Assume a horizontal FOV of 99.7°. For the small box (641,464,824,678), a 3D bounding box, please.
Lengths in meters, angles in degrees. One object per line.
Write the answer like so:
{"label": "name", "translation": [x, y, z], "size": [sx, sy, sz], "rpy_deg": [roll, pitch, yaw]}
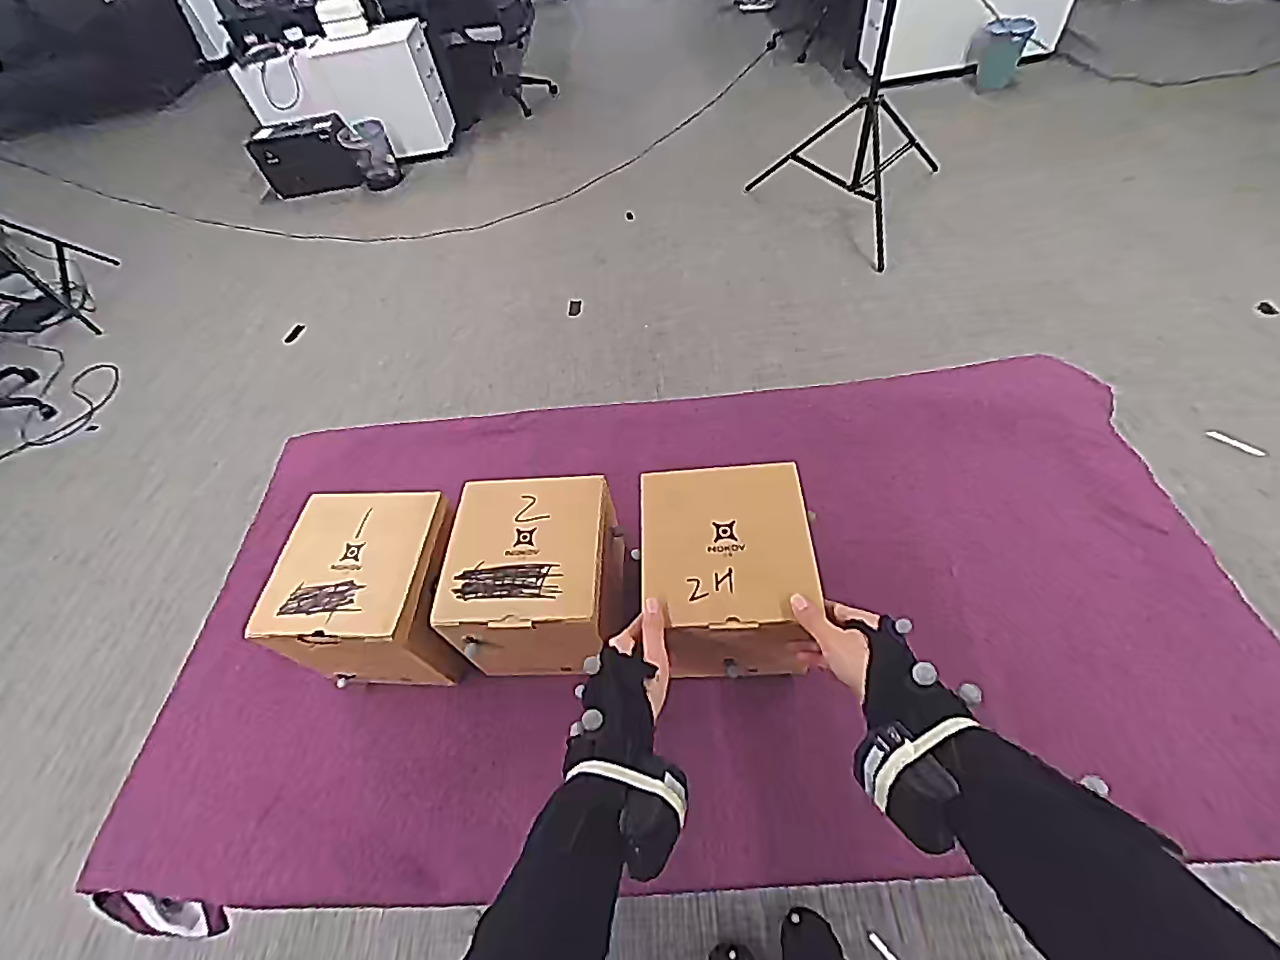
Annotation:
{"label": "small box", "translation": [0.092, 0.105, 0.594], "size": [0.168, 0.176, 0.179], "rpy_deg": [-5, 55, 7]}
